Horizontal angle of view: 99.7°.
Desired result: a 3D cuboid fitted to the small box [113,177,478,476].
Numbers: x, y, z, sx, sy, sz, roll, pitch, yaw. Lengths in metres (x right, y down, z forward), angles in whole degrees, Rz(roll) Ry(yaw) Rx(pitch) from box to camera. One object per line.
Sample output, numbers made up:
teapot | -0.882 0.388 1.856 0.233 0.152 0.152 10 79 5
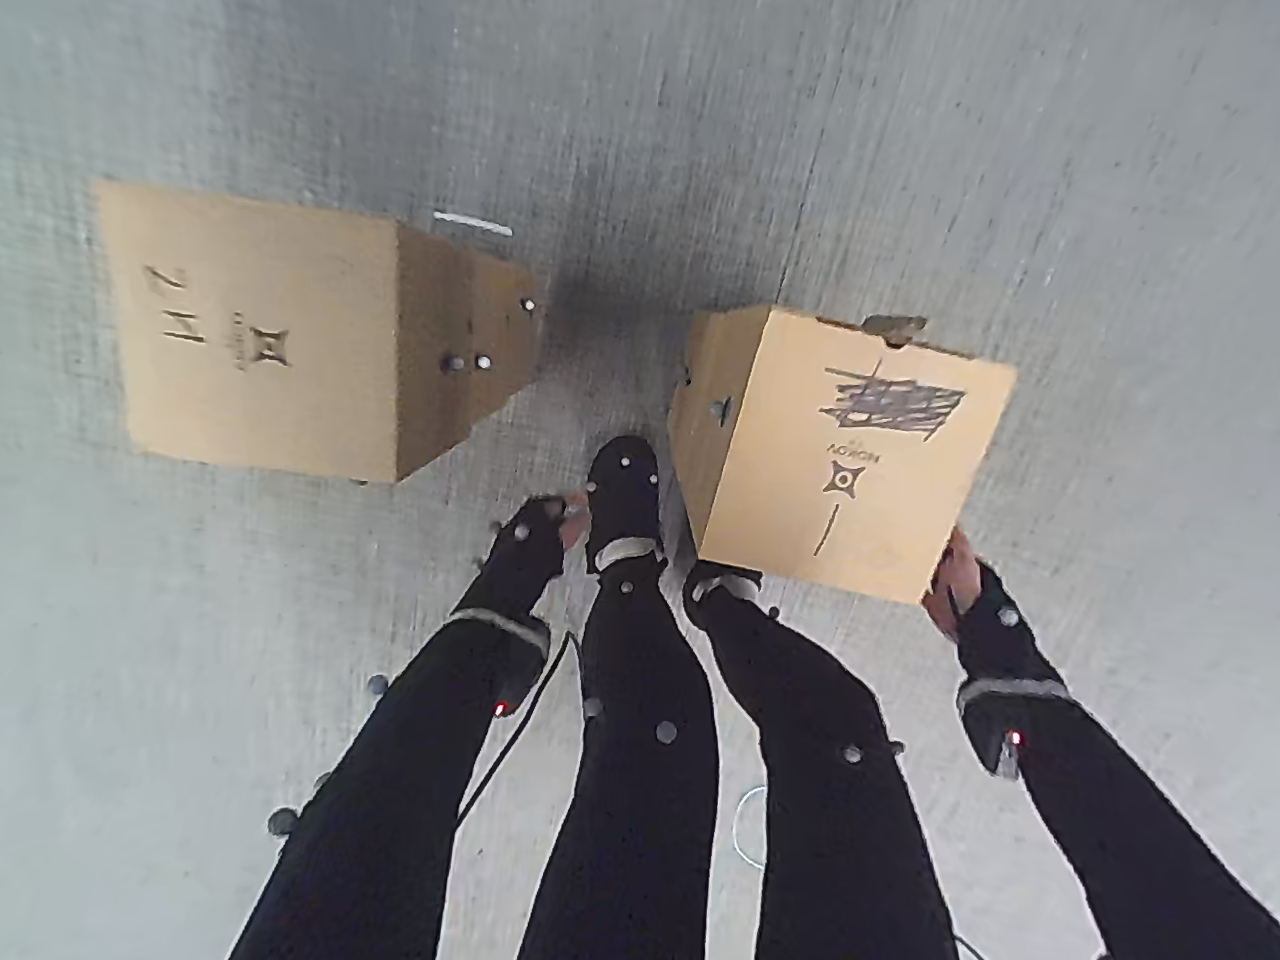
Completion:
small box | -0.236 -0.113 0.420 0.179 0.176 0.168 8 105 -1

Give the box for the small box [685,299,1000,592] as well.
small box | 0.137 -0.038 0.445 0.168 0.176 0.179 13 106 -3

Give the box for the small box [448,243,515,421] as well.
small box | -0.244 -0.163 0.579 0.179 0.176 0.168 7 106 -2

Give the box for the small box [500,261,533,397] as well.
small box | -0.248 -0.215 0.735 0.179 0.176 0.168 7 106 -1

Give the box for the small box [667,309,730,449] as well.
small box | 0.135 -0.133 0.760 0.168 0.176 0.179 12 106 -4
